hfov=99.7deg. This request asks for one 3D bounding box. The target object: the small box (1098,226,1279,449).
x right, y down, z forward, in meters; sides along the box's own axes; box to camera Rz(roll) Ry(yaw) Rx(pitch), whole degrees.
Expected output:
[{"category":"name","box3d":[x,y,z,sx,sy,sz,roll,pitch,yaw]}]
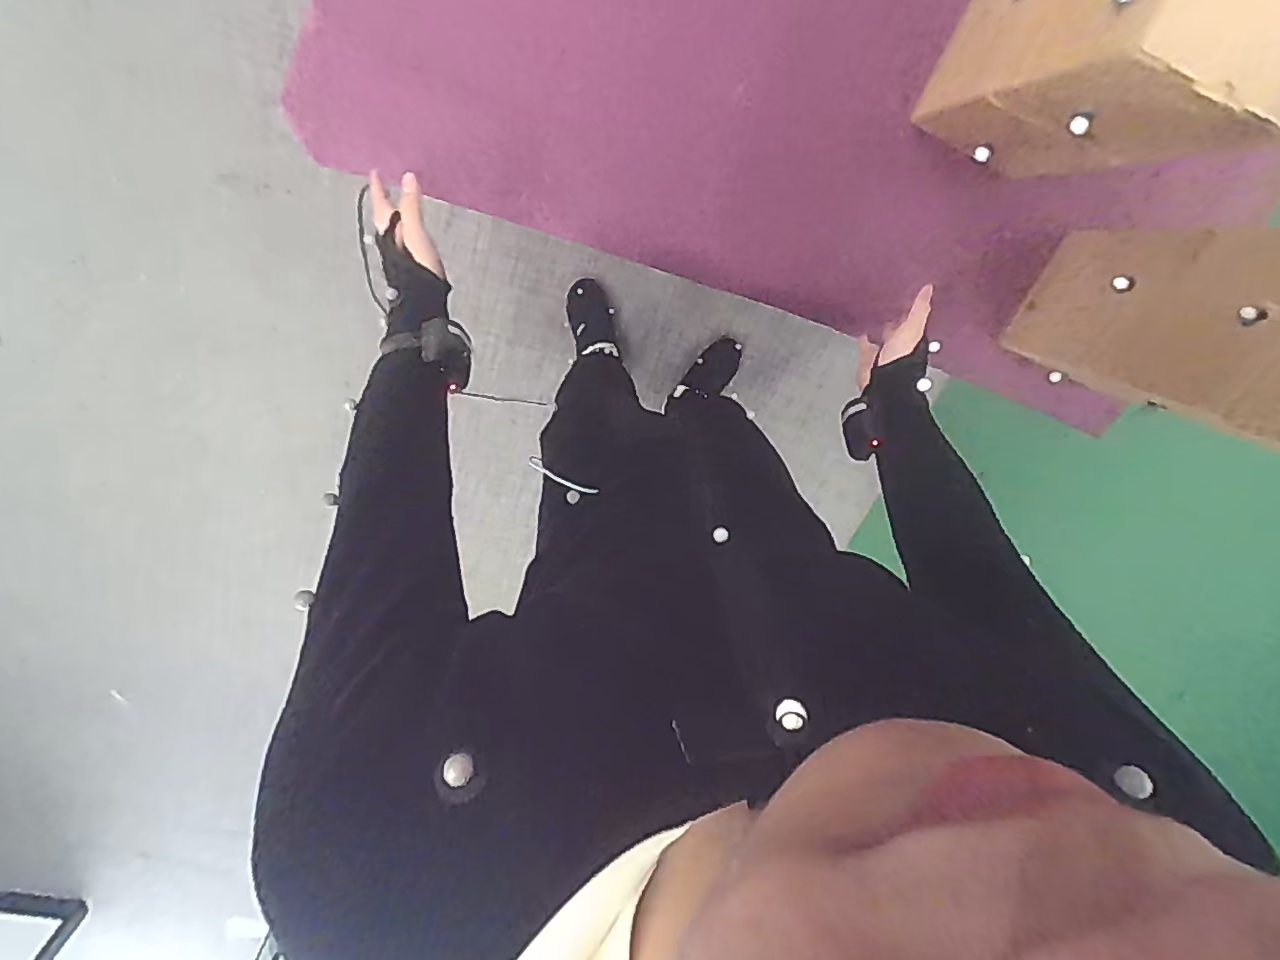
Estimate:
[{"category":"small box","box3d":[0.643,-0.145,0.554,0.168,0.176,0.179,20,113,-10]}]

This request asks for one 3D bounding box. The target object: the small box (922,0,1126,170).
[{"category":"small box","box3d":[0.444,-0.459,0.574,0.168,0.176,0.179,20,114,-11]}]

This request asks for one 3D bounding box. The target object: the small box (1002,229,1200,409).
[{"category":"small box","box3d":[0.634,-0.213,0.702,0.179,0.176,0.168,20,113,-11]}]

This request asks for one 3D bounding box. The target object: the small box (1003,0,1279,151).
[{"category":"small box","box3d":[0.443,-0.389,0.427,0.168,0.176,0.179,17,116,-11]}]
